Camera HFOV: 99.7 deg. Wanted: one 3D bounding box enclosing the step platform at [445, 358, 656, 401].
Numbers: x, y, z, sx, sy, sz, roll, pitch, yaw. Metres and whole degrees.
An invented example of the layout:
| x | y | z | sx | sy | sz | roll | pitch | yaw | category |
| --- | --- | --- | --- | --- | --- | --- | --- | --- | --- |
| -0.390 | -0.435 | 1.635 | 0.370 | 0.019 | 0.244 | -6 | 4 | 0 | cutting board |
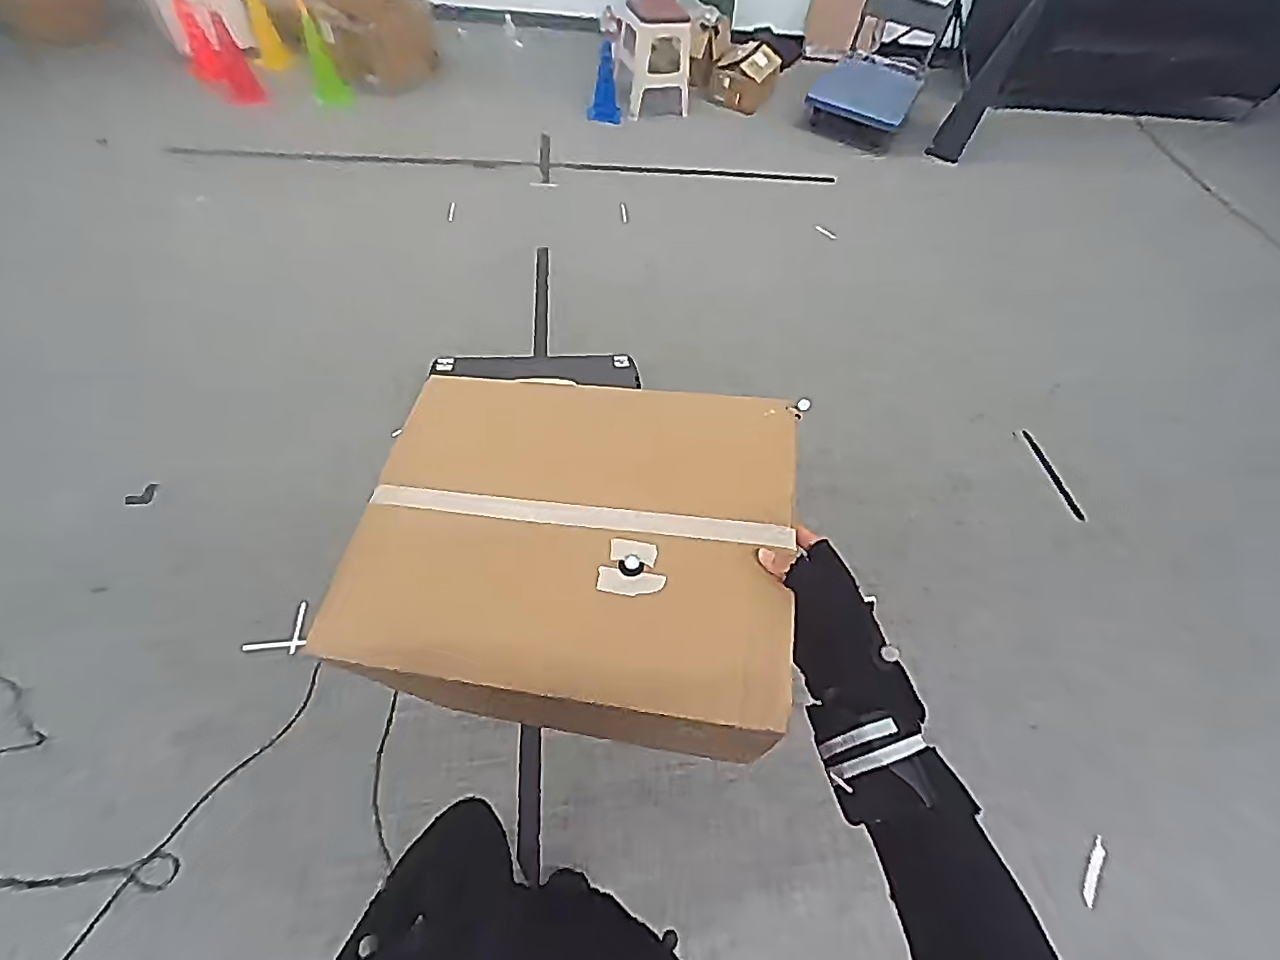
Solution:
| x | y | z | sx | sy | sz | roll | pitch | yaw | category |
| --- | --- | --- | --- | --- | --- | --- | --- | --- | --- |
| -0.288 | -0.244 | 1.793 | 0.684 | 0.204 | 0.286 | -3 | 56 | -10 | step platform |

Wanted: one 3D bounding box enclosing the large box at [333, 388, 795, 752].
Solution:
| x | y | z | sx | sy | sz | roll | pitch | yaw | category |
| --- | --- | --- | --- | --- | --- | --- | --- | --- | --- |
| -0.045 | 0.115 | 0.648 | 0.408 | 0.320 | 0.320 | 6 | 61 | 9 | large box |
